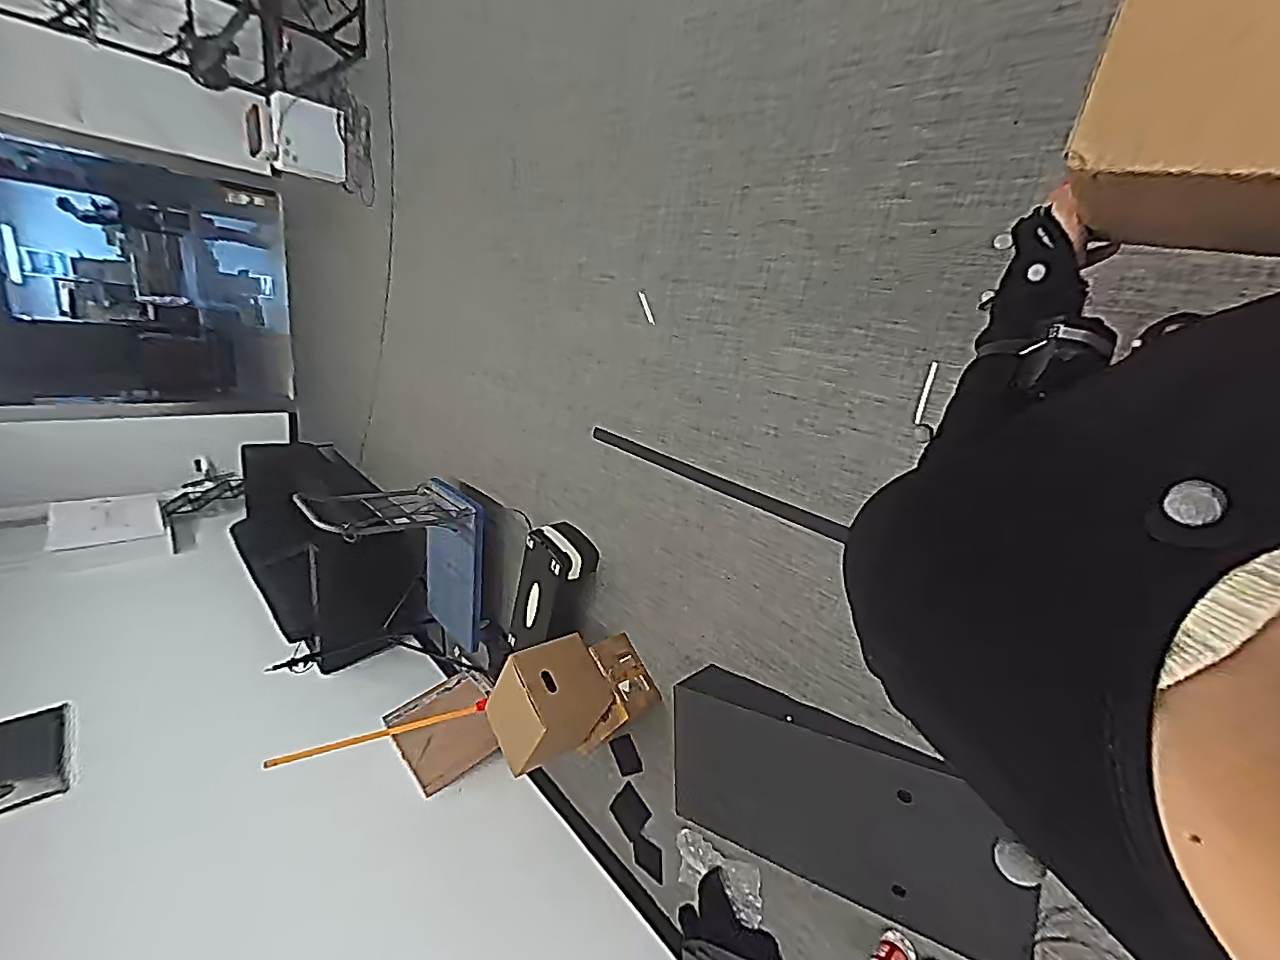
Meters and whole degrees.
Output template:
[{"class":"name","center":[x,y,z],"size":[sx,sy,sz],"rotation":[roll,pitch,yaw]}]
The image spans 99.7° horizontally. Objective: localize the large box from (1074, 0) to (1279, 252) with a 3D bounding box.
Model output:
[{"class":"large box","center":[0.475,-0.265,0.217],"size":[0.408,0.320,0.320],"rotation":[24,118,33]}]
